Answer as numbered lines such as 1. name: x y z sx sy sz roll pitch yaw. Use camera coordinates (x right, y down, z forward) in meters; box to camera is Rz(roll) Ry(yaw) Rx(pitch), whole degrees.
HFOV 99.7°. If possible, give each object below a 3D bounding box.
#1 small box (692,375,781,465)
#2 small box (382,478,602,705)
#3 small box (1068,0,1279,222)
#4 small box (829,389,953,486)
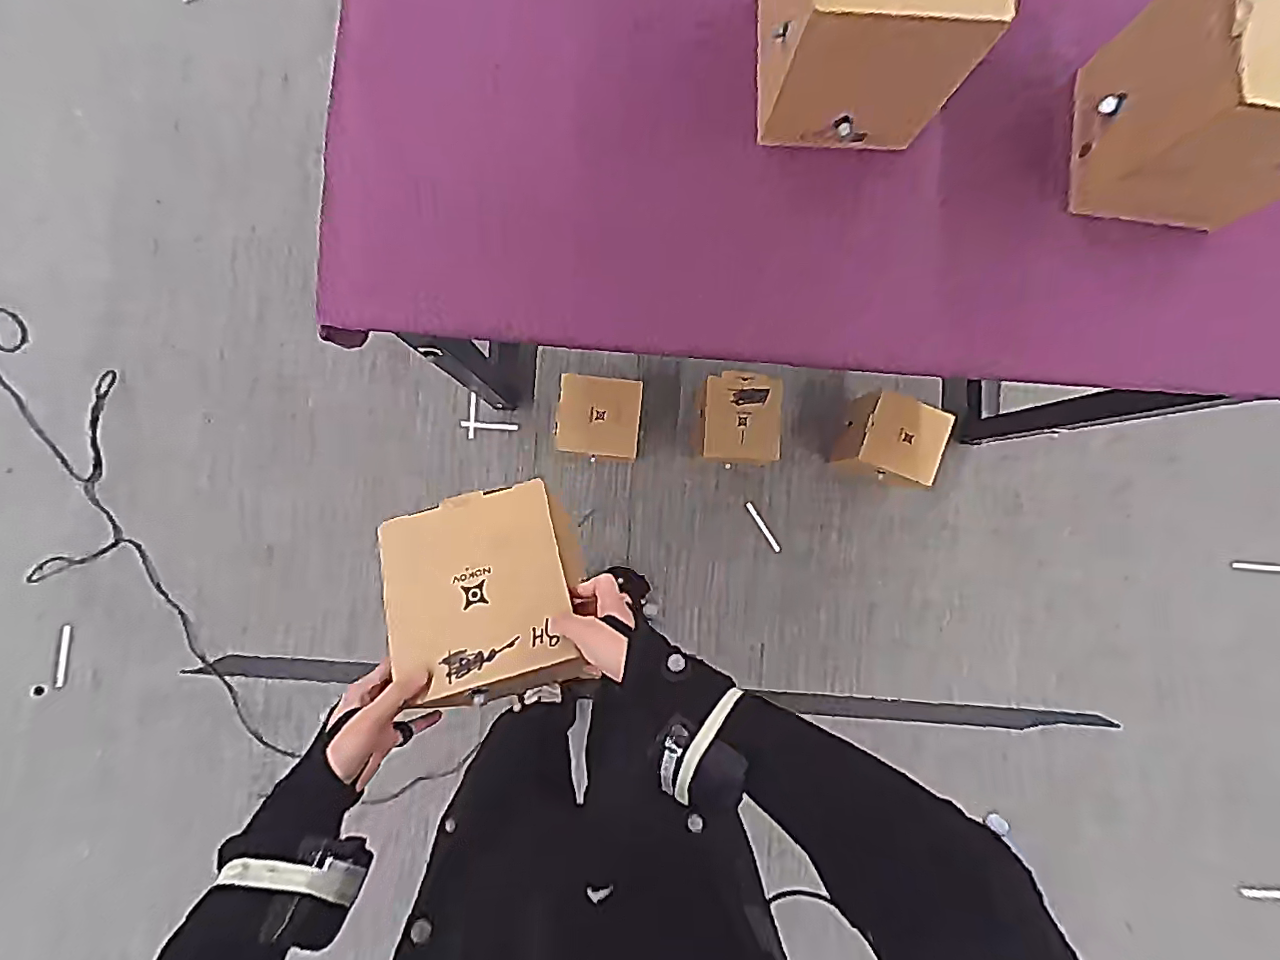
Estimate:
1. small box: 0.213 -0.131 1.228 0.168 0.176 0.179 3 89 -2
2. small box: -0.145 0.125 0.566 0.168 0.176 0.179 -16 68 -3
3. small box: 0.570 -0.374 0.523 0.179 0.176 0.168 6 87 -2
4. small box: 0.567 -0.092 1.244 0.179 0.176 0.168 20 87 -1
